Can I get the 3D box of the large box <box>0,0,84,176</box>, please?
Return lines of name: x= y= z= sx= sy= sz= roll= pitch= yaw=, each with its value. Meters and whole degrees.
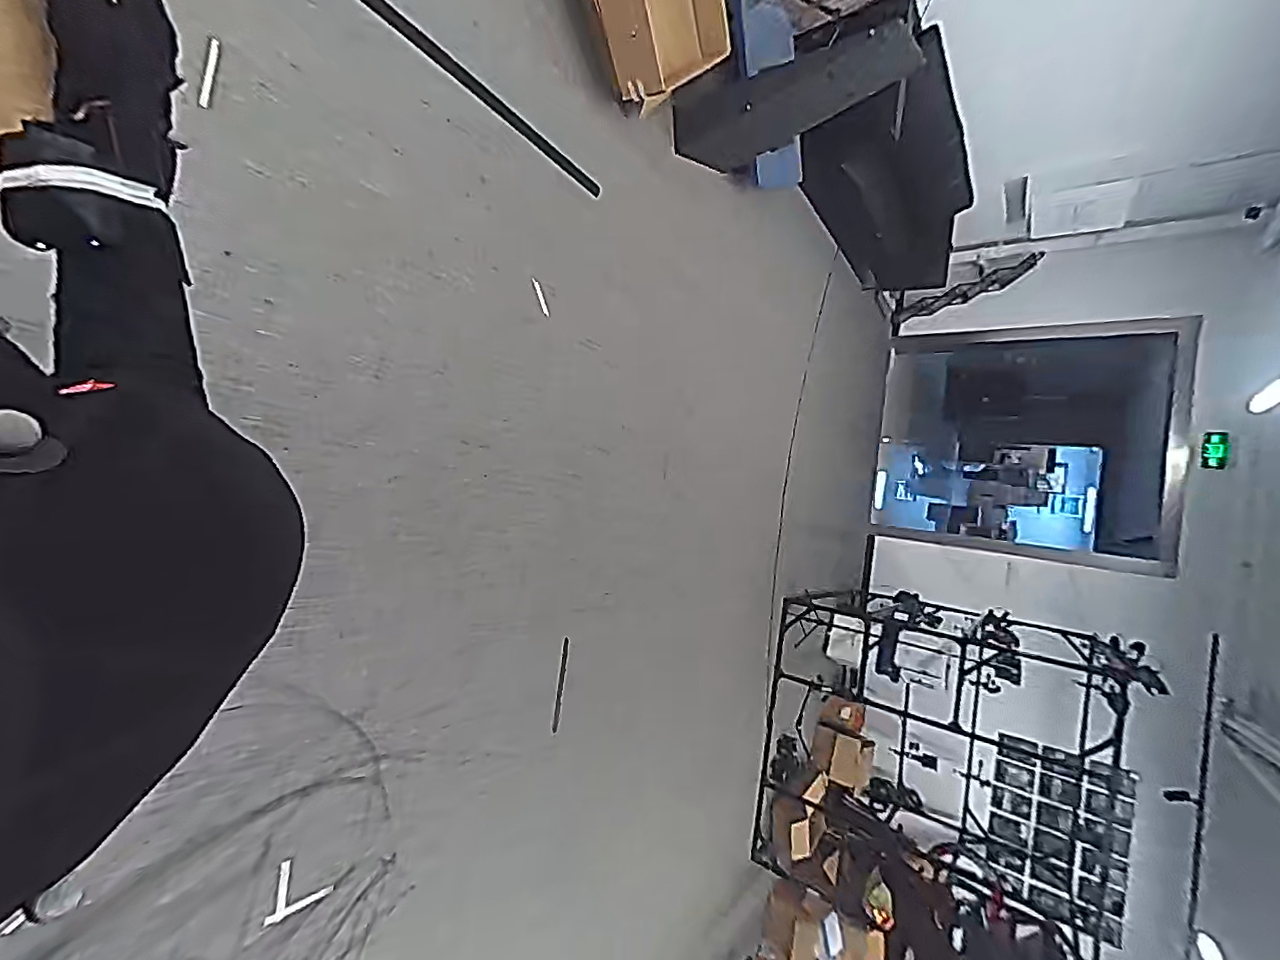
large box: x=-0.631 y=-0.386 z=0.280 sx=0.408 sy=0.320 sz=0.320 roll=-14 pitch=120 yaw=-56
